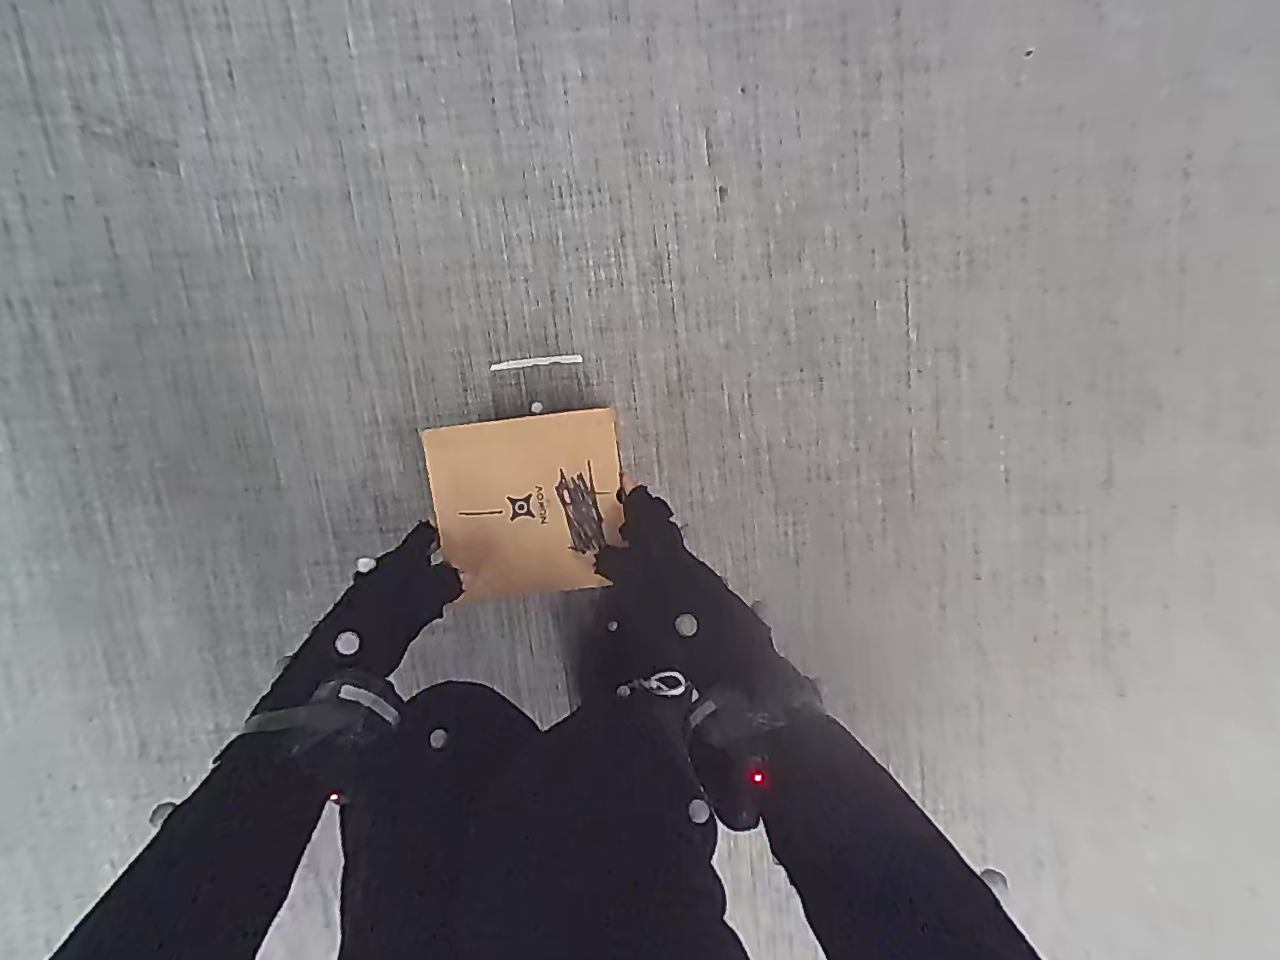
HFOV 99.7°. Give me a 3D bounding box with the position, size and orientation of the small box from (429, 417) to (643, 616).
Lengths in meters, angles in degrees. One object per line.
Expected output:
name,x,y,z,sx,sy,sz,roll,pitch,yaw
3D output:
small box,-0.101,0.026,0.581,0.179,0.176,0.168,-10,97,-3
